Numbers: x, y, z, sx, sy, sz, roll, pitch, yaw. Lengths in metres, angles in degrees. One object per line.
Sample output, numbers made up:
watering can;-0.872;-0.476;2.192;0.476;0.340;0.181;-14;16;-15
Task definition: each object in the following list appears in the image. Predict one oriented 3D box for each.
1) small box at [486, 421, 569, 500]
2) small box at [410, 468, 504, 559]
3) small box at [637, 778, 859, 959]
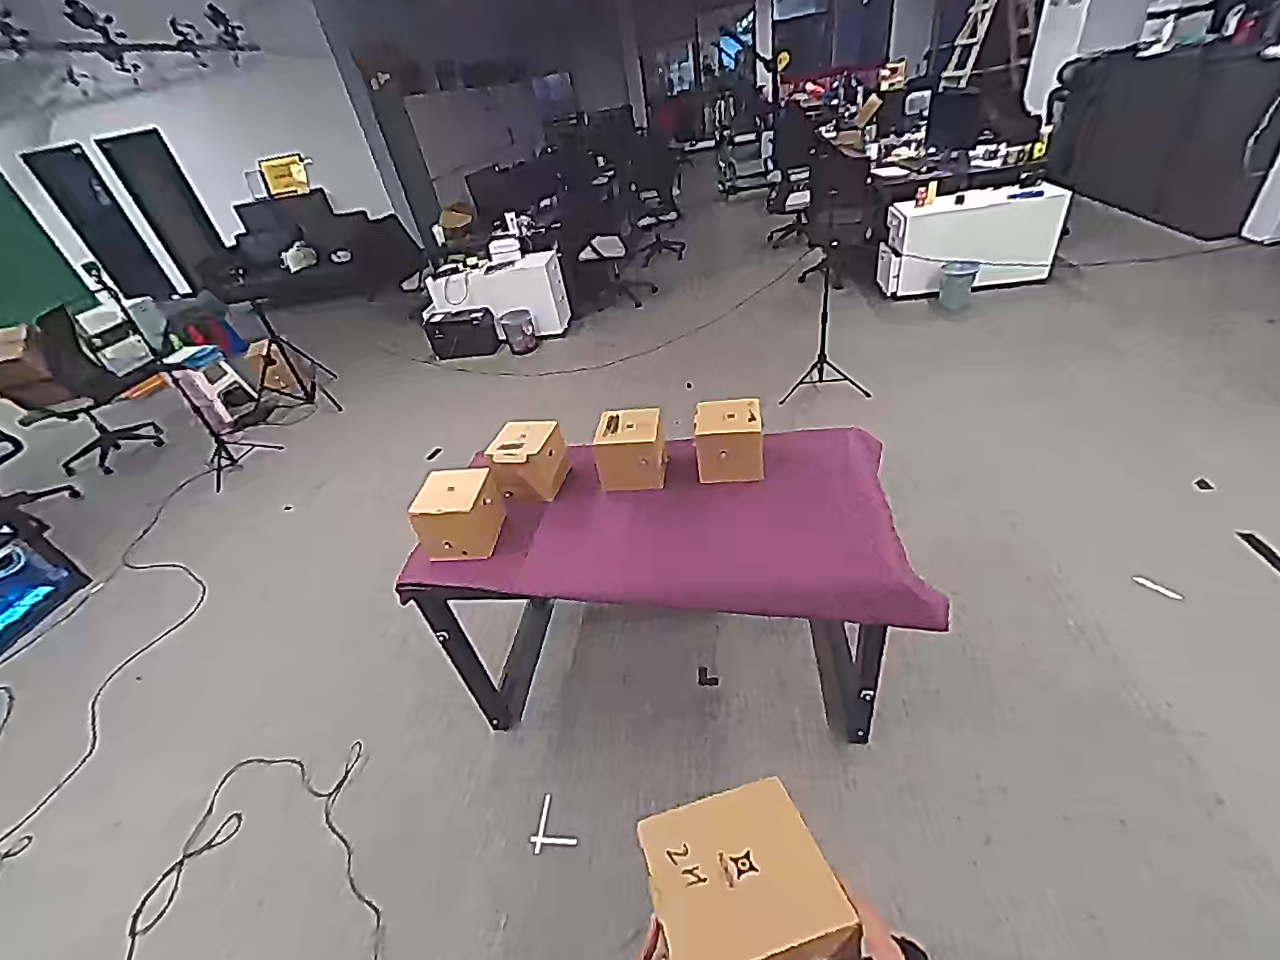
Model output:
small box;-0.320;-0.057;1.582;0.168;0.176;0.179;1;39;15
small box;-0.471;0.089;1.425;0.168;0.176;0.179;-4;38;6
small box;0.106;0.462;0.568;0.179;0.176;0.168;-12;19;-9
